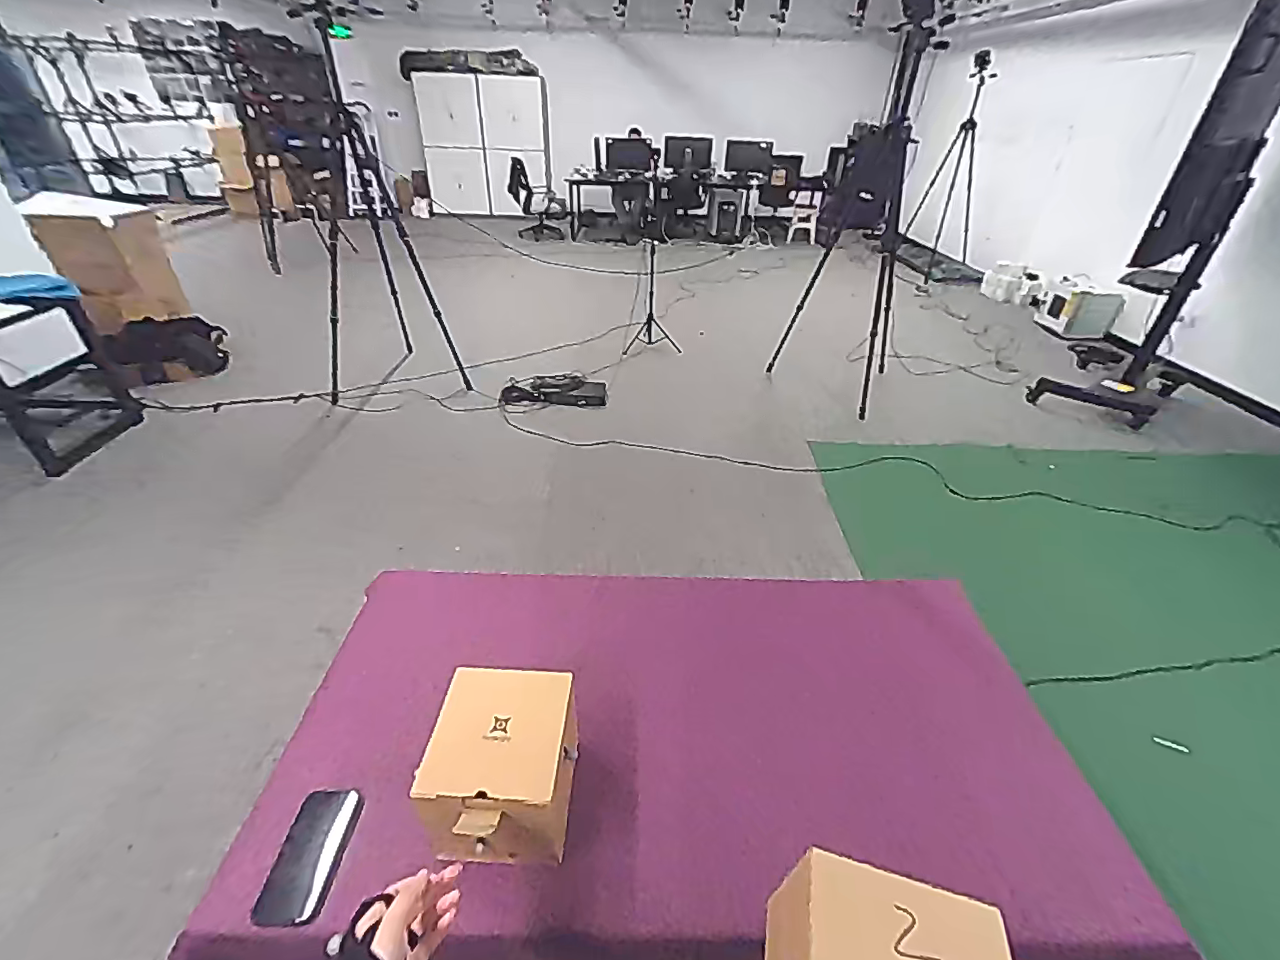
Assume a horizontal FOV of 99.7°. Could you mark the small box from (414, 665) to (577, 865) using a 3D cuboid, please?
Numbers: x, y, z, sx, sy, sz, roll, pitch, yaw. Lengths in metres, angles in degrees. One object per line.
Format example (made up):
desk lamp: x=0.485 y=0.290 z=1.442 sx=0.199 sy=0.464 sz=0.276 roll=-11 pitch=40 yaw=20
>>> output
small box: x=-0.180 y=0.380 z=0.731 sx=0.168 sy=0.176 sz=0.179 roll=4 pitch=35 yaw=1
